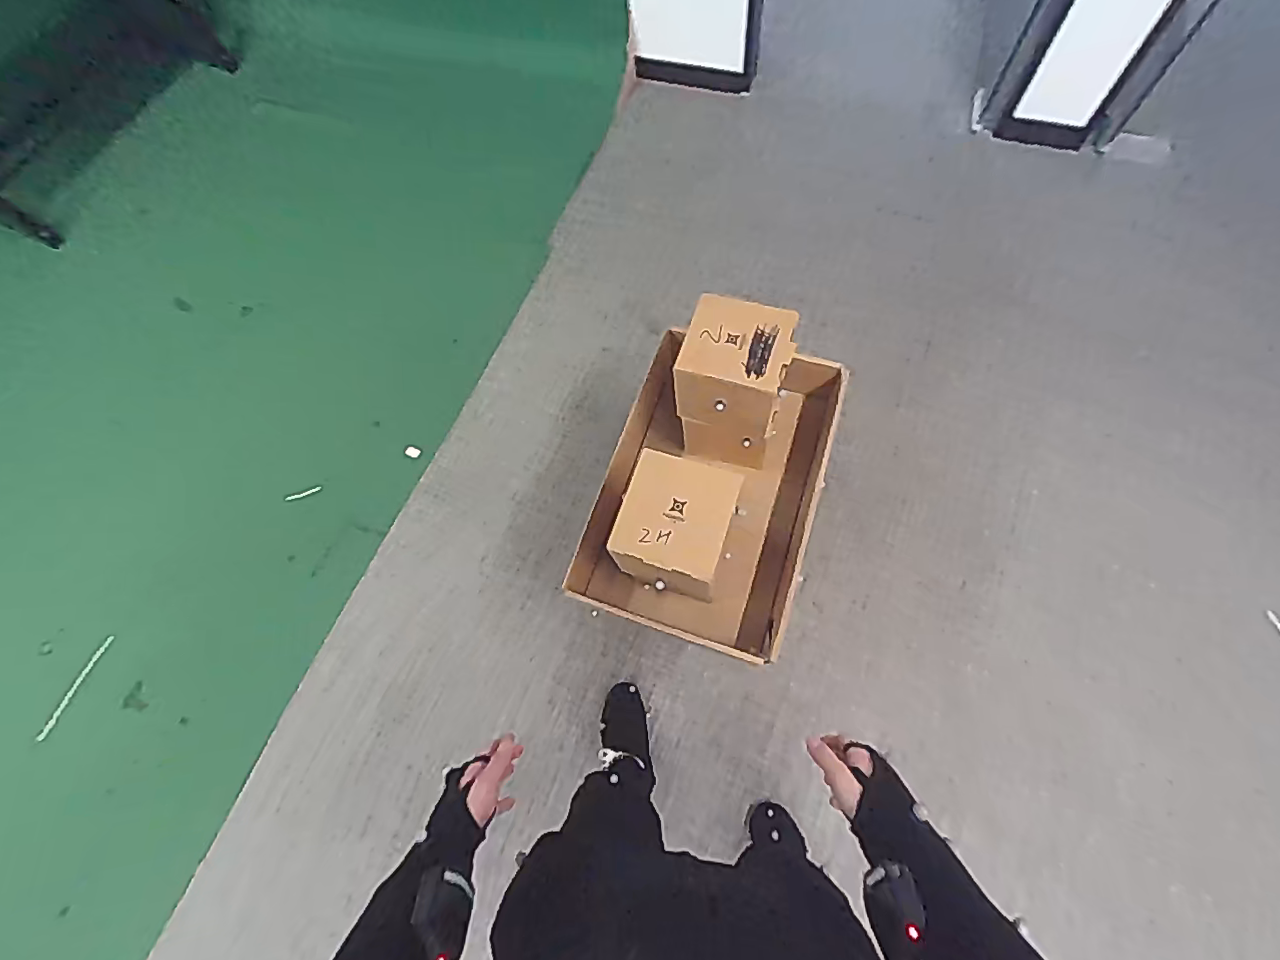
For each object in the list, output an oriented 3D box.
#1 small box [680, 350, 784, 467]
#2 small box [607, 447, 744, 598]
[{"bbox_3d":[0.189,-0.144,1.136,0.179,0.176,0.168,14,70,10],"label":"small box"},{"bbox_3d":[0.061,0.075,0.885,0.168,0.176,0.179,17,72,13],"label":"small box"}]
